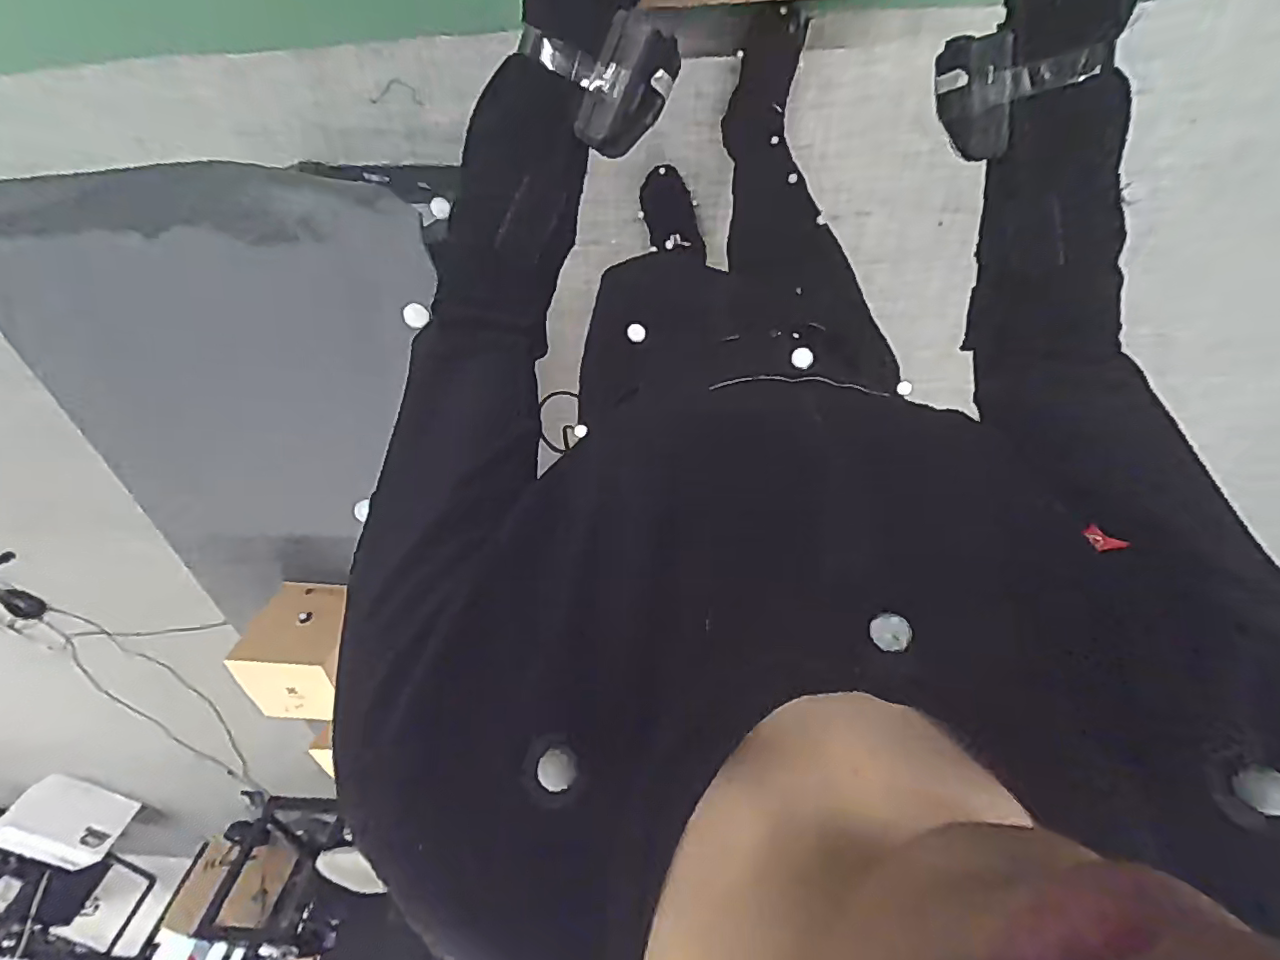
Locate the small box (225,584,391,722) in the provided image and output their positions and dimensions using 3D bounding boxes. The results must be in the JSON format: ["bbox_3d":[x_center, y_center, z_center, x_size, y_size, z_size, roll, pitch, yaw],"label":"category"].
[{"bbox_3d":[-0.576,0.305,0.968,0.168,0.176,0.179,3,128,3],"label":"small box"}]
